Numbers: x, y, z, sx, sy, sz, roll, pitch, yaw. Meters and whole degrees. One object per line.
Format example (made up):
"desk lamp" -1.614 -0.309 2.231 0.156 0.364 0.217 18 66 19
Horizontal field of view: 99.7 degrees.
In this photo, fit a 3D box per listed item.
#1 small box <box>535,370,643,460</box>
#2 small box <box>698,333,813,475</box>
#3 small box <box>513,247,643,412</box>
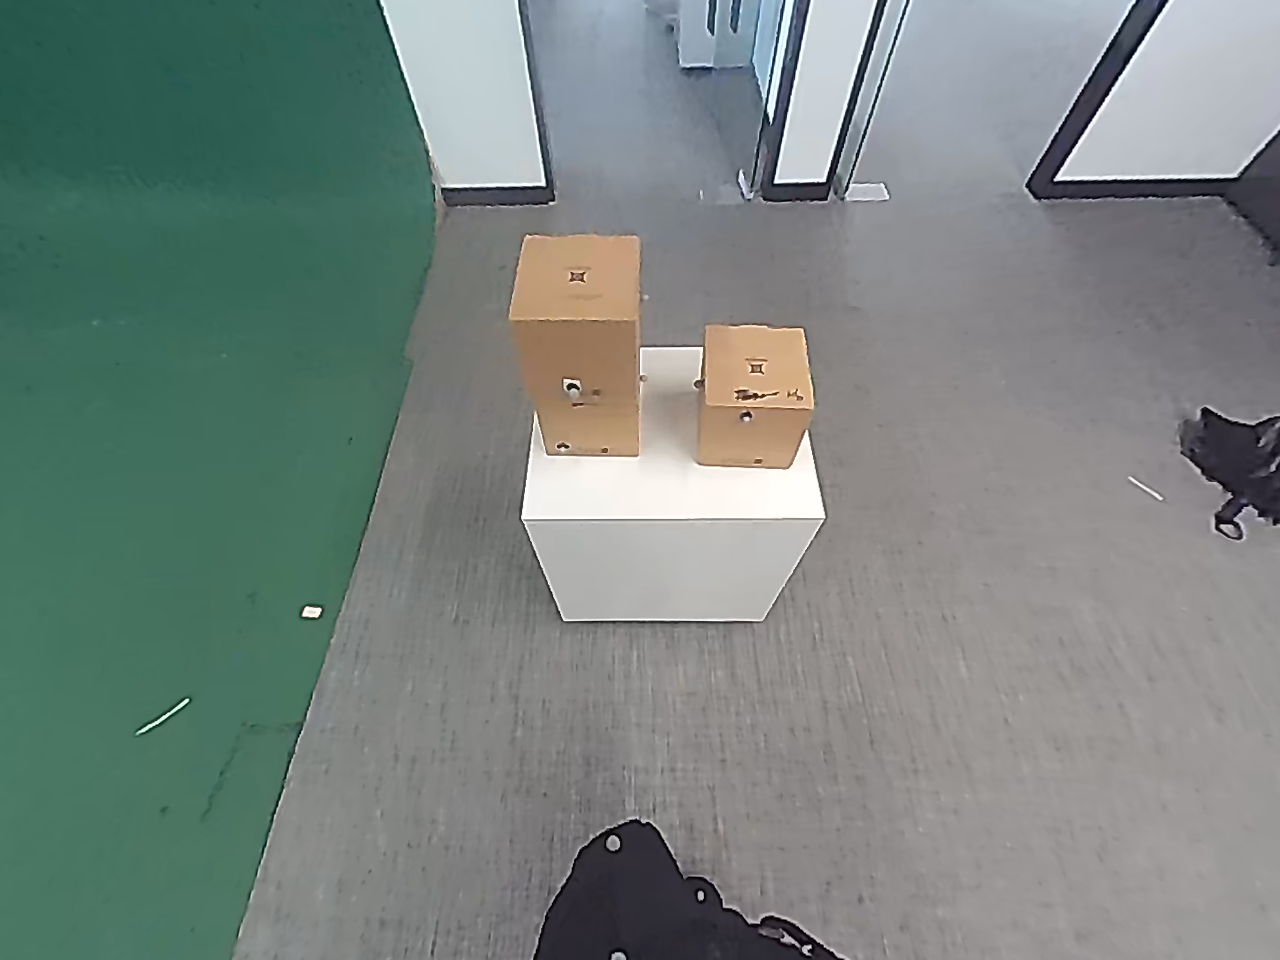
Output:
"small box" -0.079 -0.149 0.949 0.168 0.176 0.179 1 57 1
"small box" 0.188 -0.129 0.933 0.168 0.176 0.179 2 57 4
"small box" -0.081 -0.221 0.804 0.168 0.176 0.179 -1 59 1
